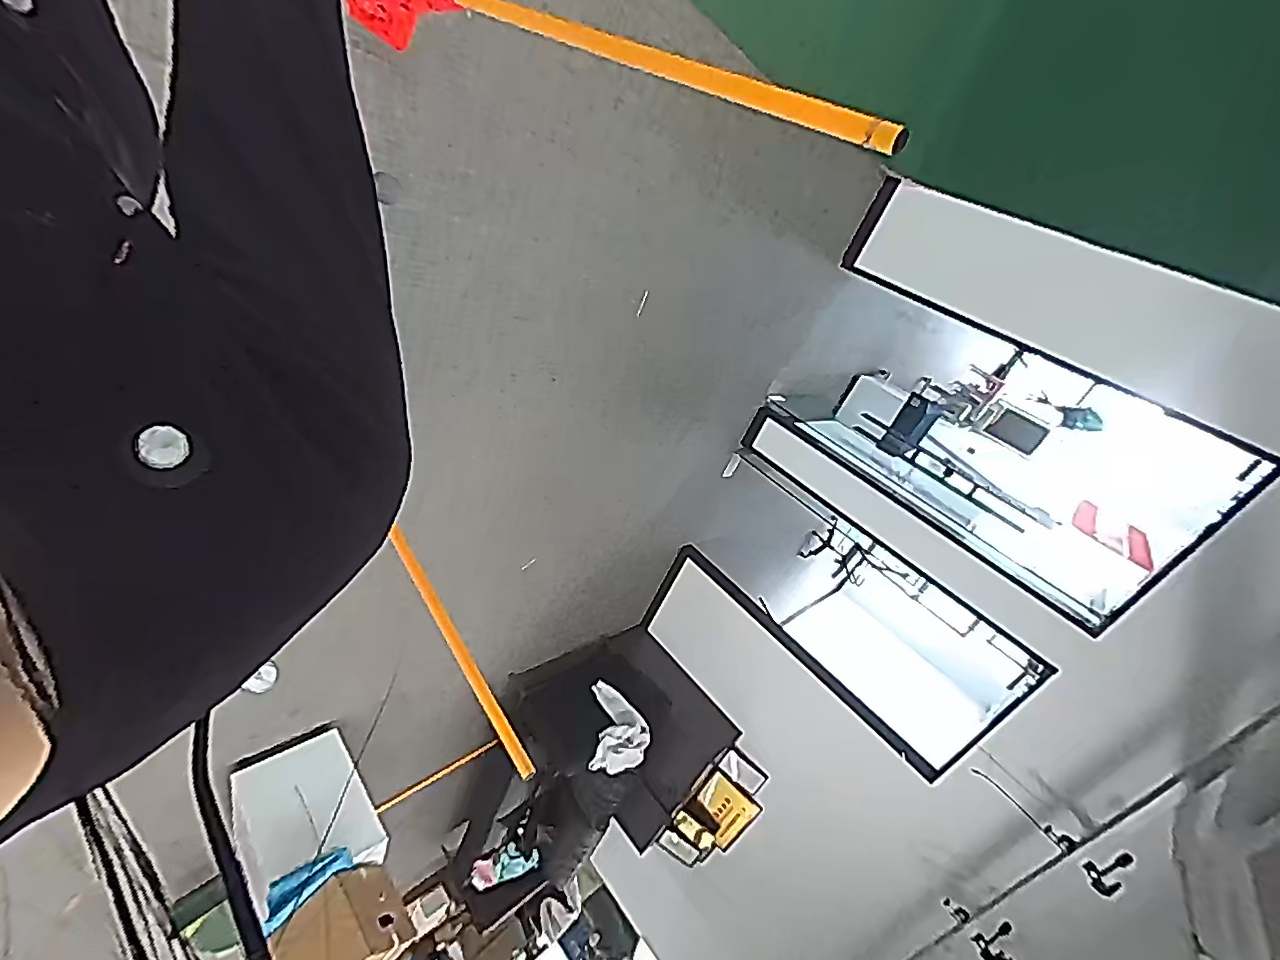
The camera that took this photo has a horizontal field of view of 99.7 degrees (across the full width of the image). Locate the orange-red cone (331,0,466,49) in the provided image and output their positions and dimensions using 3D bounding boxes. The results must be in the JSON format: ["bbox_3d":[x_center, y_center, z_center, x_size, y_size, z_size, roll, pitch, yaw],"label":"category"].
[{"bbox_3d":[-0.424,-0.930,1.010,0.198,0.360,0.199,8,120,-55],"label":"orange-red cone"}]
